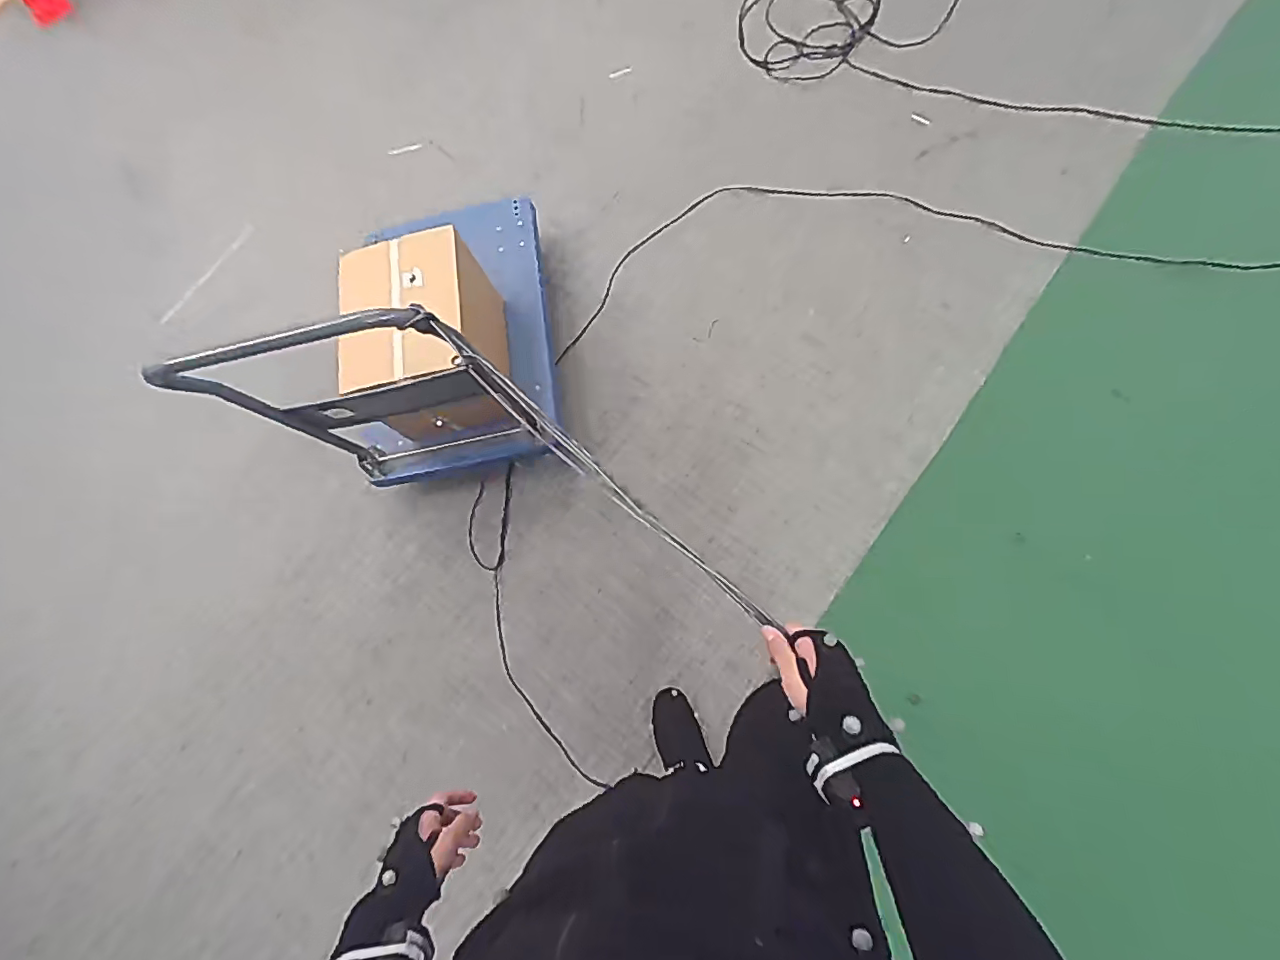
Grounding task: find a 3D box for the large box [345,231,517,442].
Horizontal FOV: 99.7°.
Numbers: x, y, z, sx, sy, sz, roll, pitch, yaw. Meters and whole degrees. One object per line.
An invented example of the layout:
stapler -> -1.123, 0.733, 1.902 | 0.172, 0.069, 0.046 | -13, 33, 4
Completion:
large box -> -0.547, -0.364, 1.444 | 0.320, 0.320, 0.408 | -12, 71, 5
